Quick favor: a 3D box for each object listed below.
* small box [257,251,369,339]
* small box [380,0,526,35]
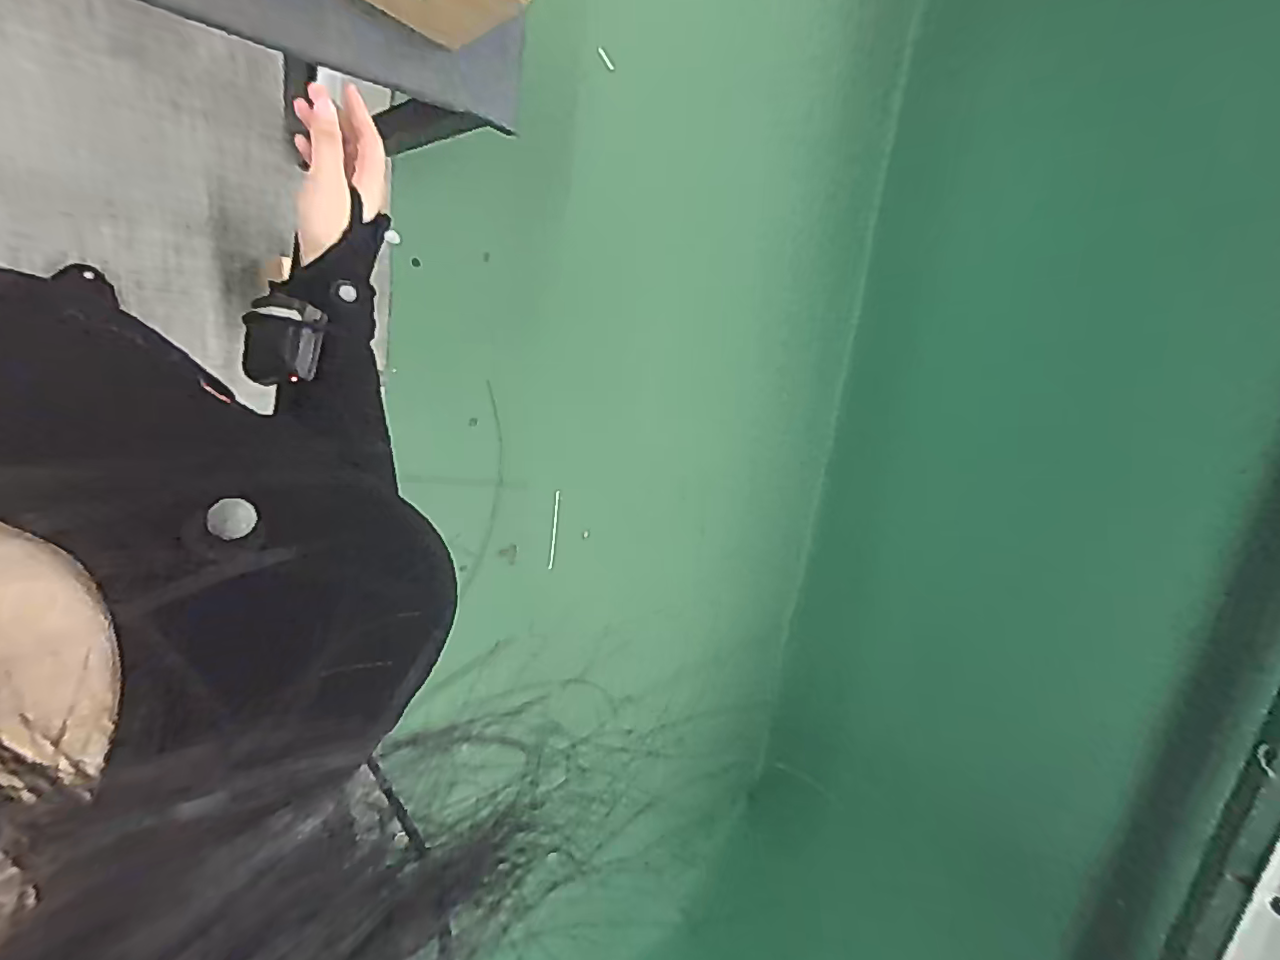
[{"bbox_3d":[-0.744,-0.421,1.235,0.168,0.176,0.179,-18,118,-46],"label":"small box"},{"bbox_3d":[-0.232,-0.631,0.584,0.179,0.176,0.168,-4,104,-47],"label":"small box"}]
